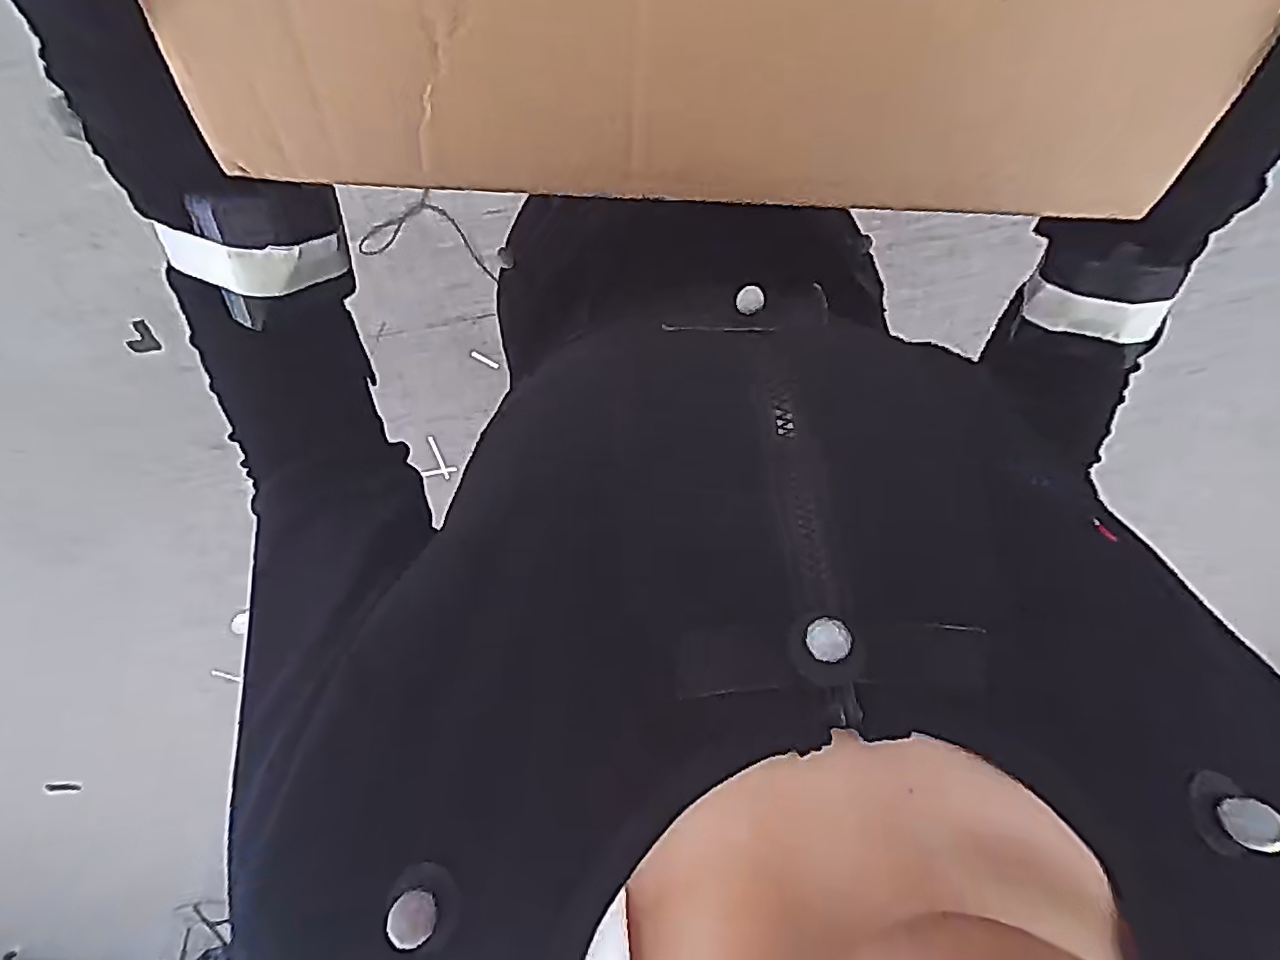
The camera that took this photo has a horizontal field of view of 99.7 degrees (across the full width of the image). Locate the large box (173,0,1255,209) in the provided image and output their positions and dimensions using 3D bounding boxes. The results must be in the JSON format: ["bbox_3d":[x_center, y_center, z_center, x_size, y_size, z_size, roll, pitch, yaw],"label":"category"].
[{"bbox_3d":[0.034,-0.343,0.227,0.408,0.320,0.320,0,139,-5],"label":"large box"}]
